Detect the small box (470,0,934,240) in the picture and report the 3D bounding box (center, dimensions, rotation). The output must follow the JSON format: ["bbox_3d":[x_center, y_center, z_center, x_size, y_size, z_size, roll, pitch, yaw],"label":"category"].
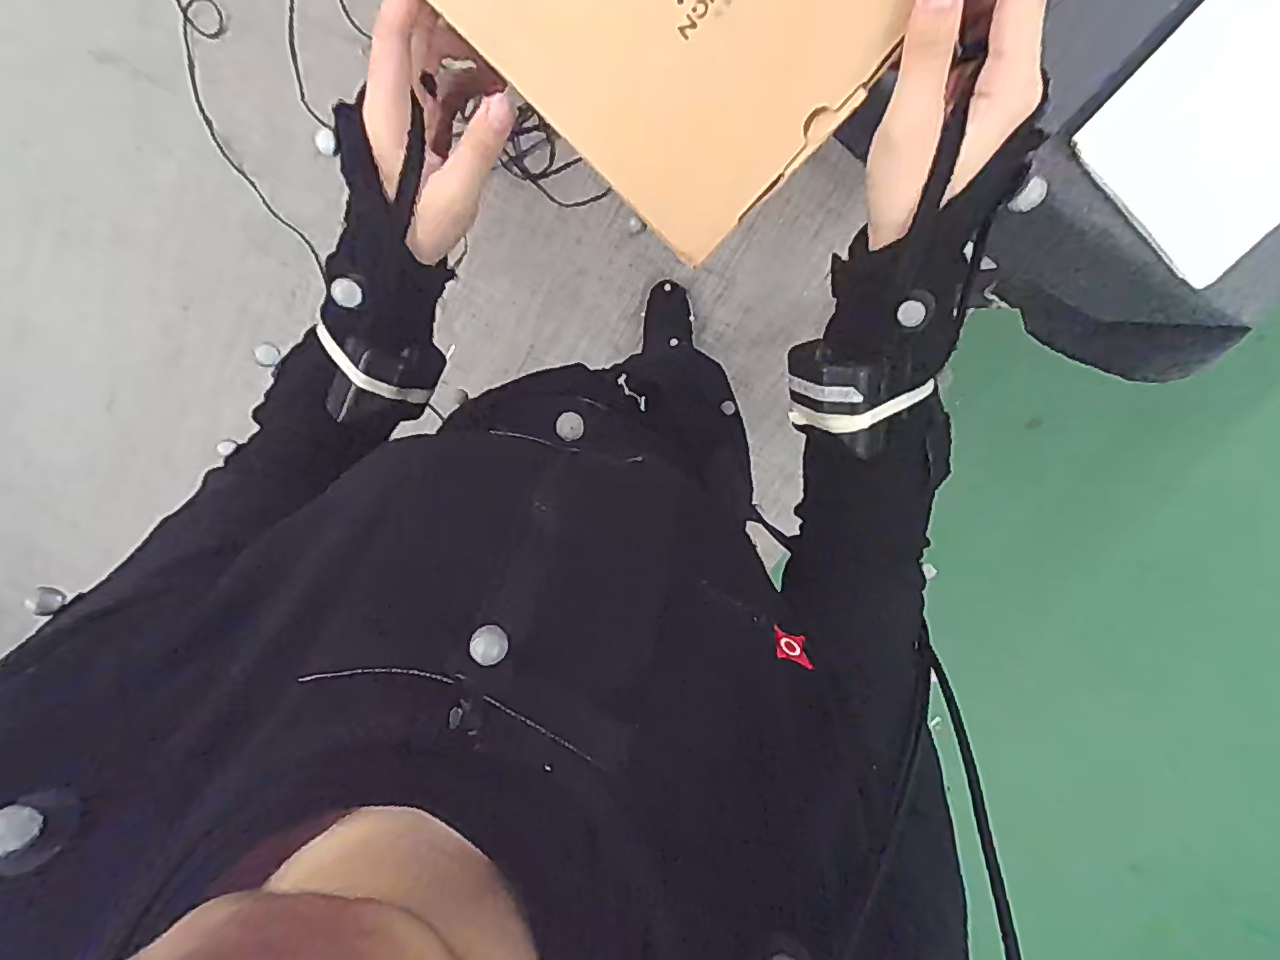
[{"bbox_3d":[0.034,-0.263,0.287,0.179,0.176,0.168,39,120,-17],"label":"small box"}]
